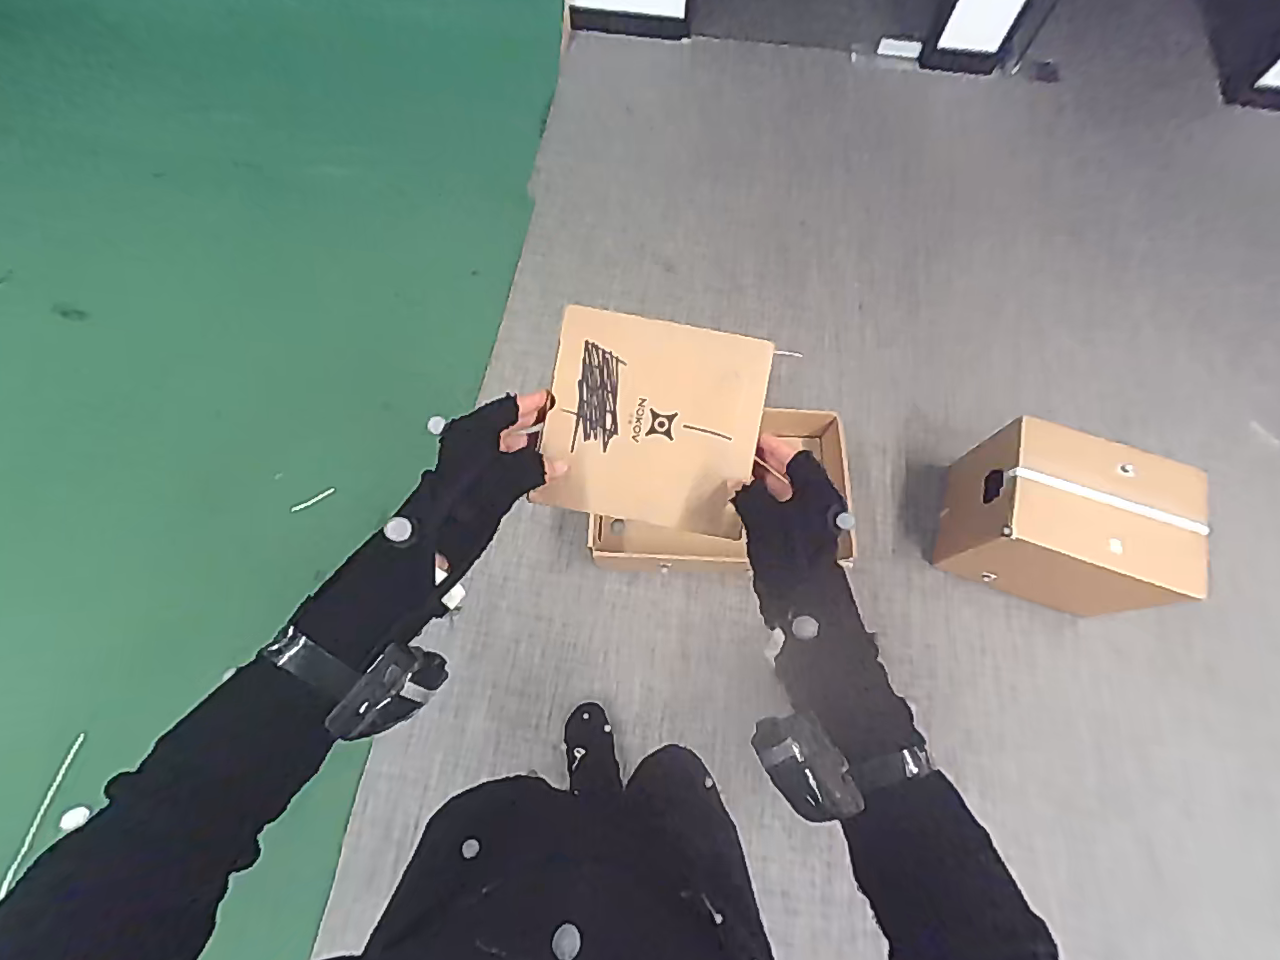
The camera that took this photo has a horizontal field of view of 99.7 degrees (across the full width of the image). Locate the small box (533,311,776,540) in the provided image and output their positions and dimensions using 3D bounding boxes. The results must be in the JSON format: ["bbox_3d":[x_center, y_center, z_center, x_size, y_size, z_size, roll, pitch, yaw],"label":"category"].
[{"bbox_3d":[0.012,-0.041,0.521,0.179,0.176,0.168,11,87,0],"label":"small box"}]
